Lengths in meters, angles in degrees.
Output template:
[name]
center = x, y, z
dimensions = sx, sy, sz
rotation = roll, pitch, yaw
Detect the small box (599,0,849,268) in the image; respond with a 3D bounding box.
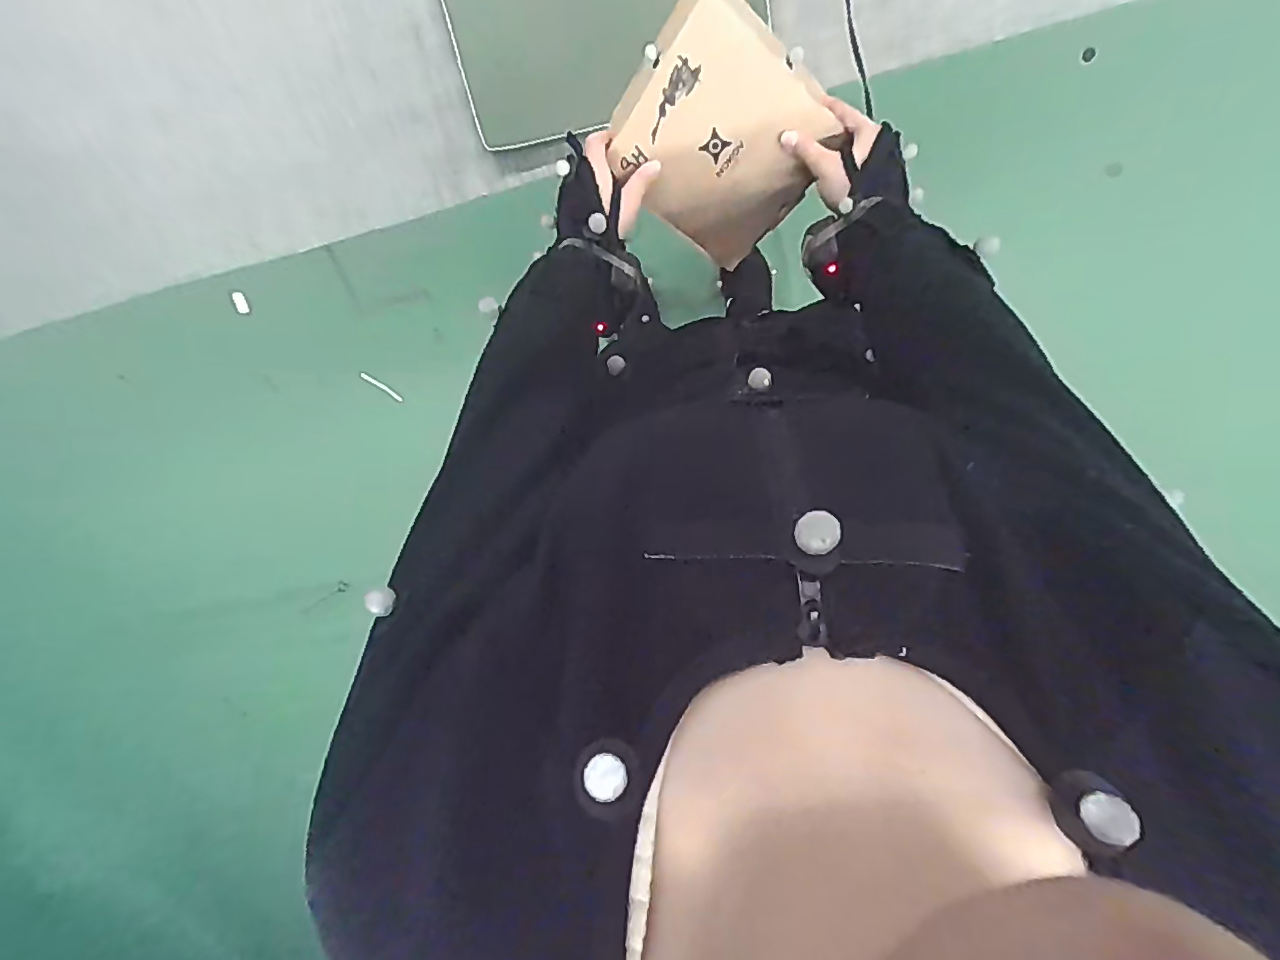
[small box]
center = 0.081, -0.367, 0.558
dimensions = 0.179, 0.176, 0.168
rotation = 28, 133, -24
